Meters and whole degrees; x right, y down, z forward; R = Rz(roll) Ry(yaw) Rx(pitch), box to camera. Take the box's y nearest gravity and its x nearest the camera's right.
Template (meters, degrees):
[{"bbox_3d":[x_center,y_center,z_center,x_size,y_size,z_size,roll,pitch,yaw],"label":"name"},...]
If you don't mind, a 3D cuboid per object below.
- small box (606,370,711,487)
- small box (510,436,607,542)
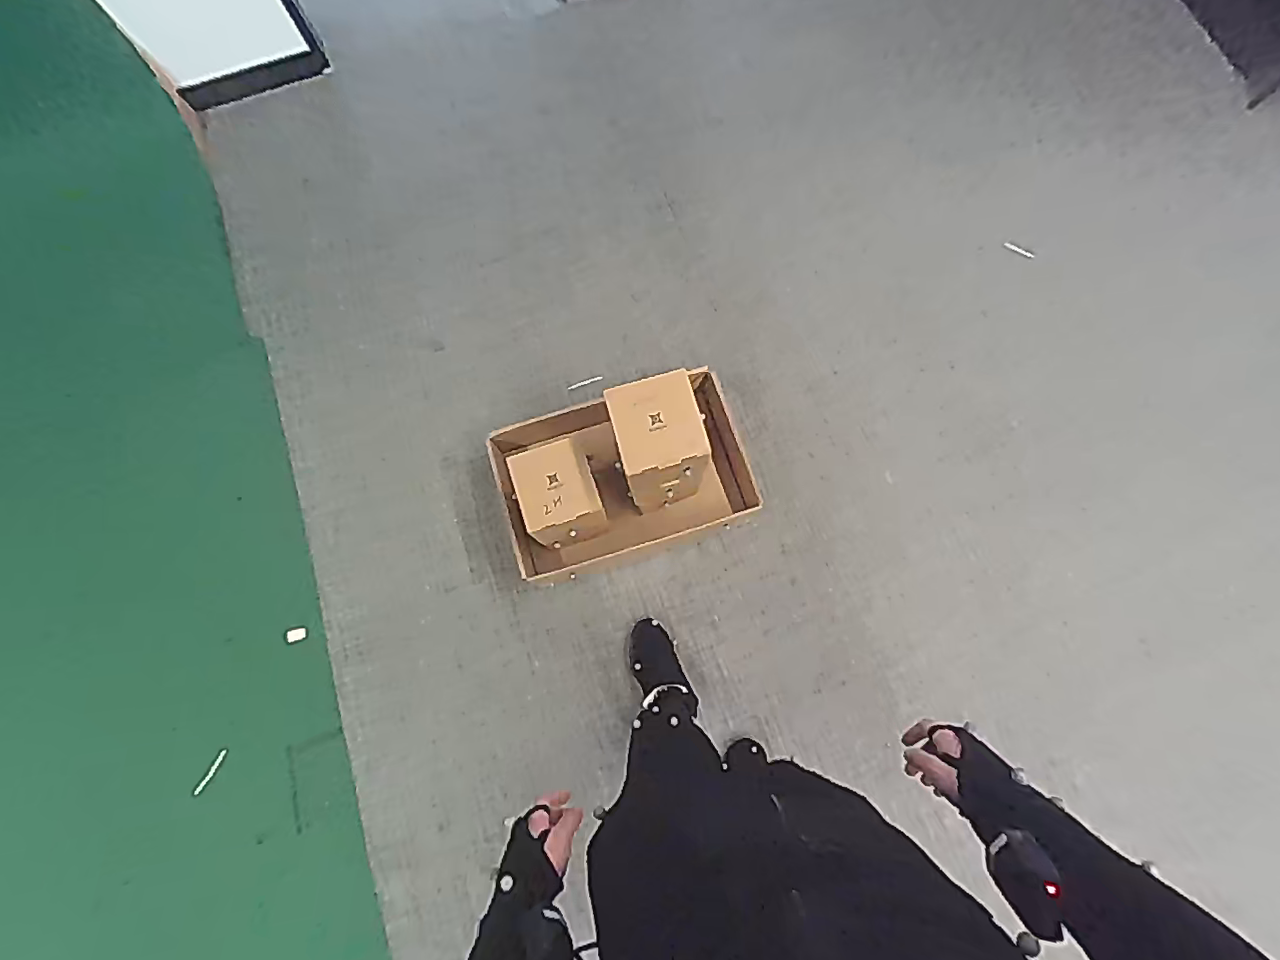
[{"bbox_3d":[0.038,-0.092,1.084,0.168,0.176,0.179,-15,77,-1],"label":"small box"},{"bbox_3d":[-0.178,0.025,1.222,0.168,0.176,0.179,-18,76,-4],"label":"small box"}]
